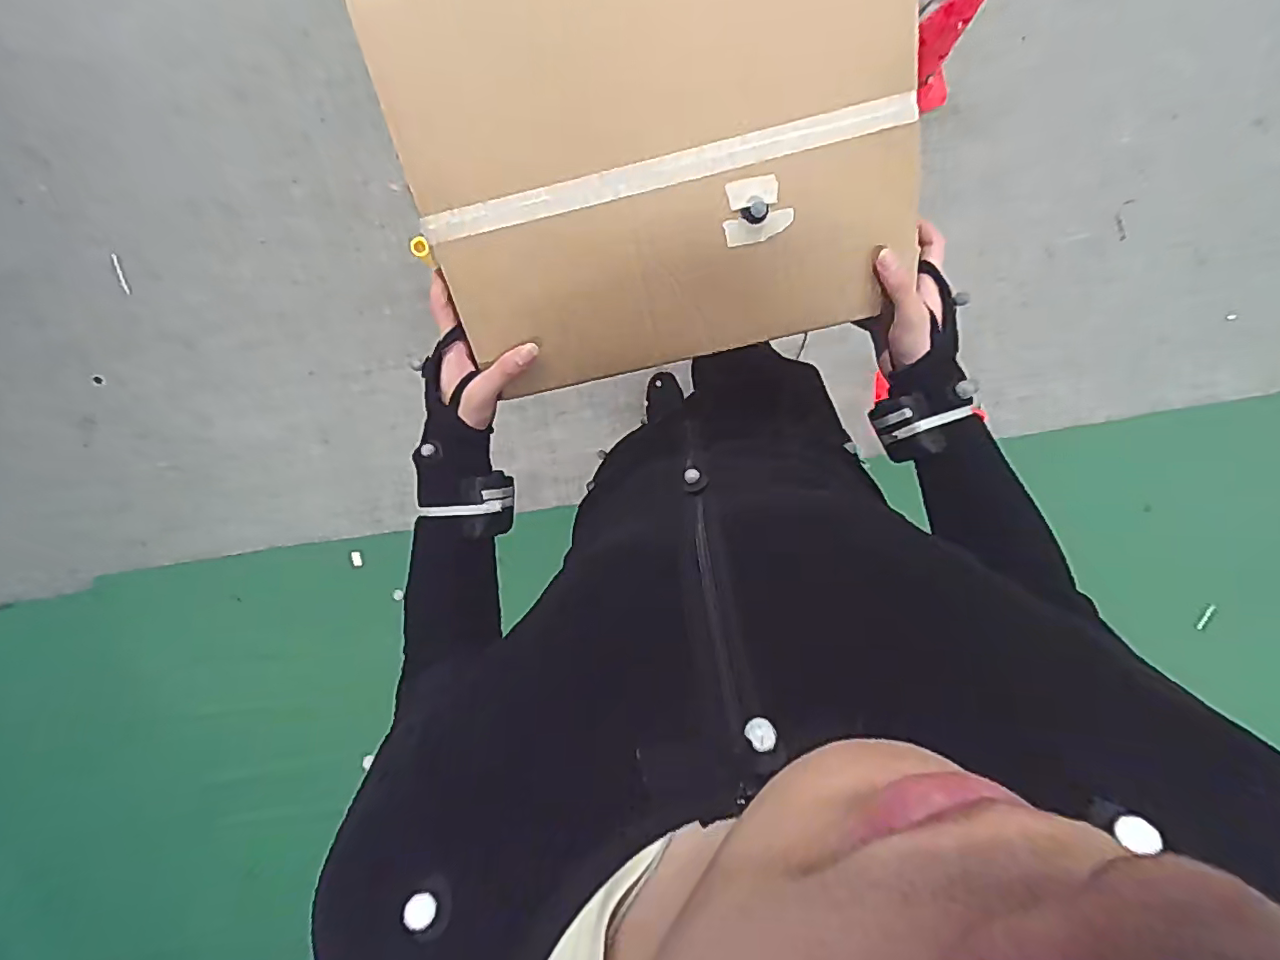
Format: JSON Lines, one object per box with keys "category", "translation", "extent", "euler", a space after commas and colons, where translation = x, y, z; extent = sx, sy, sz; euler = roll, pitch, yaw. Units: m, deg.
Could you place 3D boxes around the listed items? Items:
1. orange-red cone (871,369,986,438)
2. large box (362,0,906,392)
{"category": "orange-red cone", "translation": [0.770, -0.175, 1.392], "extent": [0.199, 0.360, 0.198], "euler": [-2, 105, 1]}
{"category": "large box", "translation": [0.011, -0.325, 0.581], "extent": [0.408, 0.320, 0.320], "euler": [-13, 116, 3]}
